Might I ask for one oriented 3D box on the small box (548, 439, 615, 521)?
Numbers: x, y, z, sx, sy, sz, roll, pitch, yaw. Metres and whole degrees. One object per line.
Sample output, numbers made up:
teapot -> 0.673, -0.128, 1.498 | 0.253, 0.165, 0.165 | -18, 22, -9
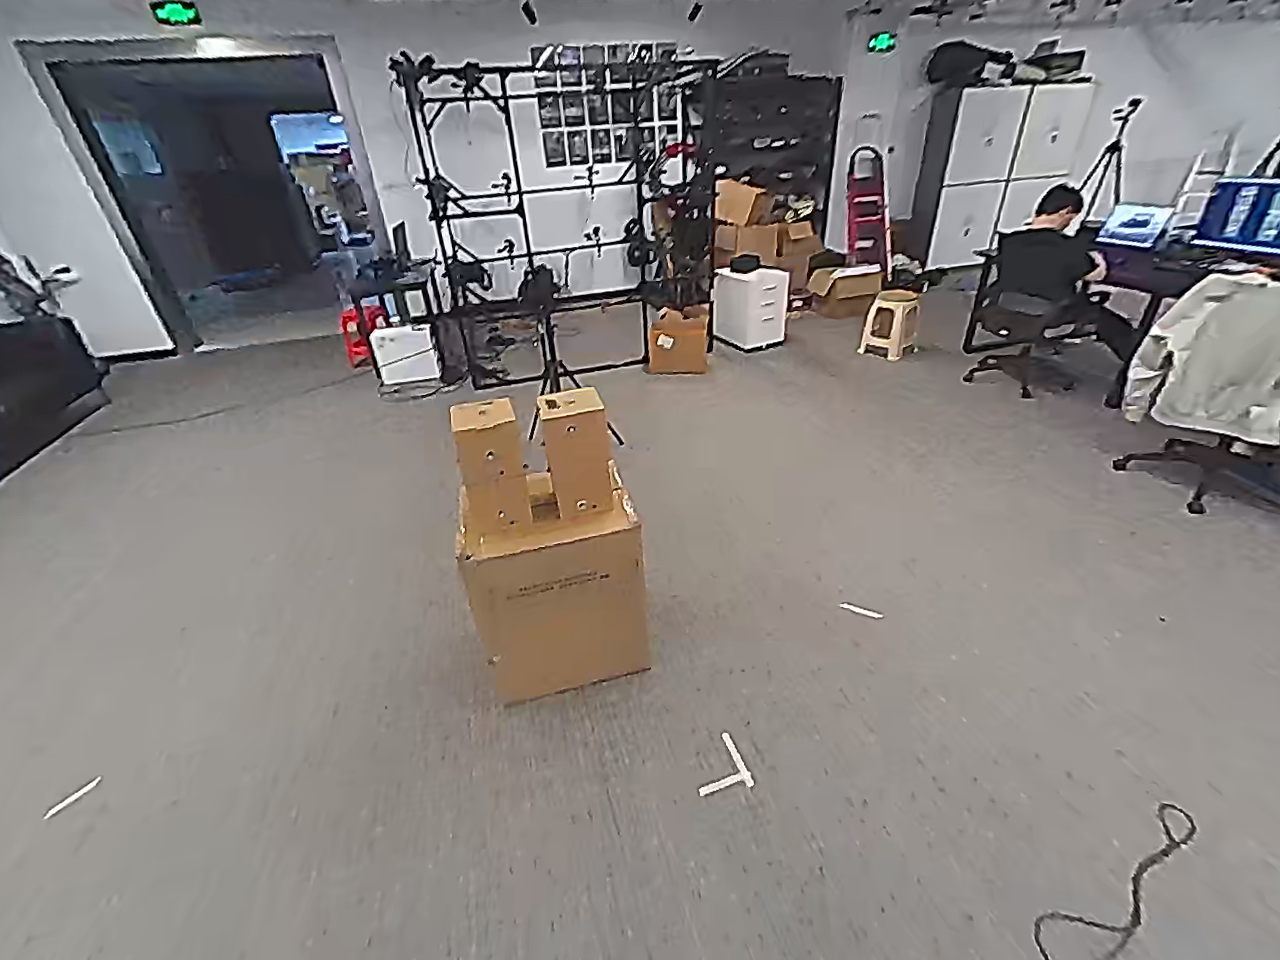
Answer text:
small box -> -0.179, 0.000, 1.651 | 0.168, 0.176, 0.179 | -13, 34, -10

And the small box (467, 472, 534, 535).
small box -> -0.417, 0.039, 1.613 | 0.168, 0.176, 0.179 | -11, 33, -13

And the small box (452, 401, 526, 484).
small box -> -0.426, -0.102, 1.529 | 0.168, 0.176, 0.179 | -12, 33, -14
